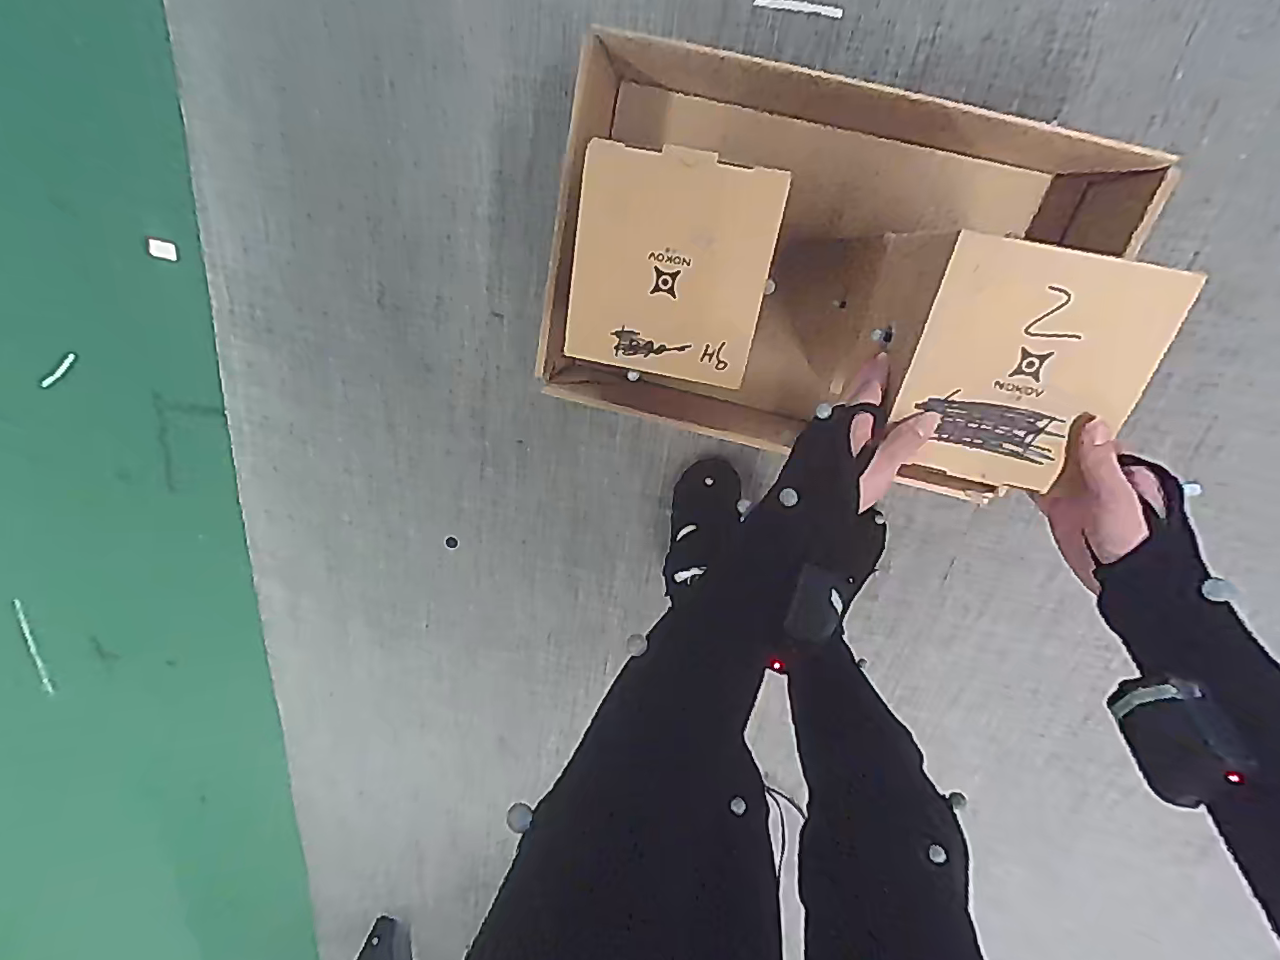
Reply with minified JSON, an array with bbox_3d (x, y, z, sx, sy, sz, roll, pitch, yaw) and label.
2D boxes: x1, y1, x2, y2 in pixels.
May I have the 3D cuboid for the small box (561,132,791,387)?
[{"bbox_3d":[0.035,-0.205,0.526,0.168,0.176,0.179,13,111,6],"label":"small box"}]
